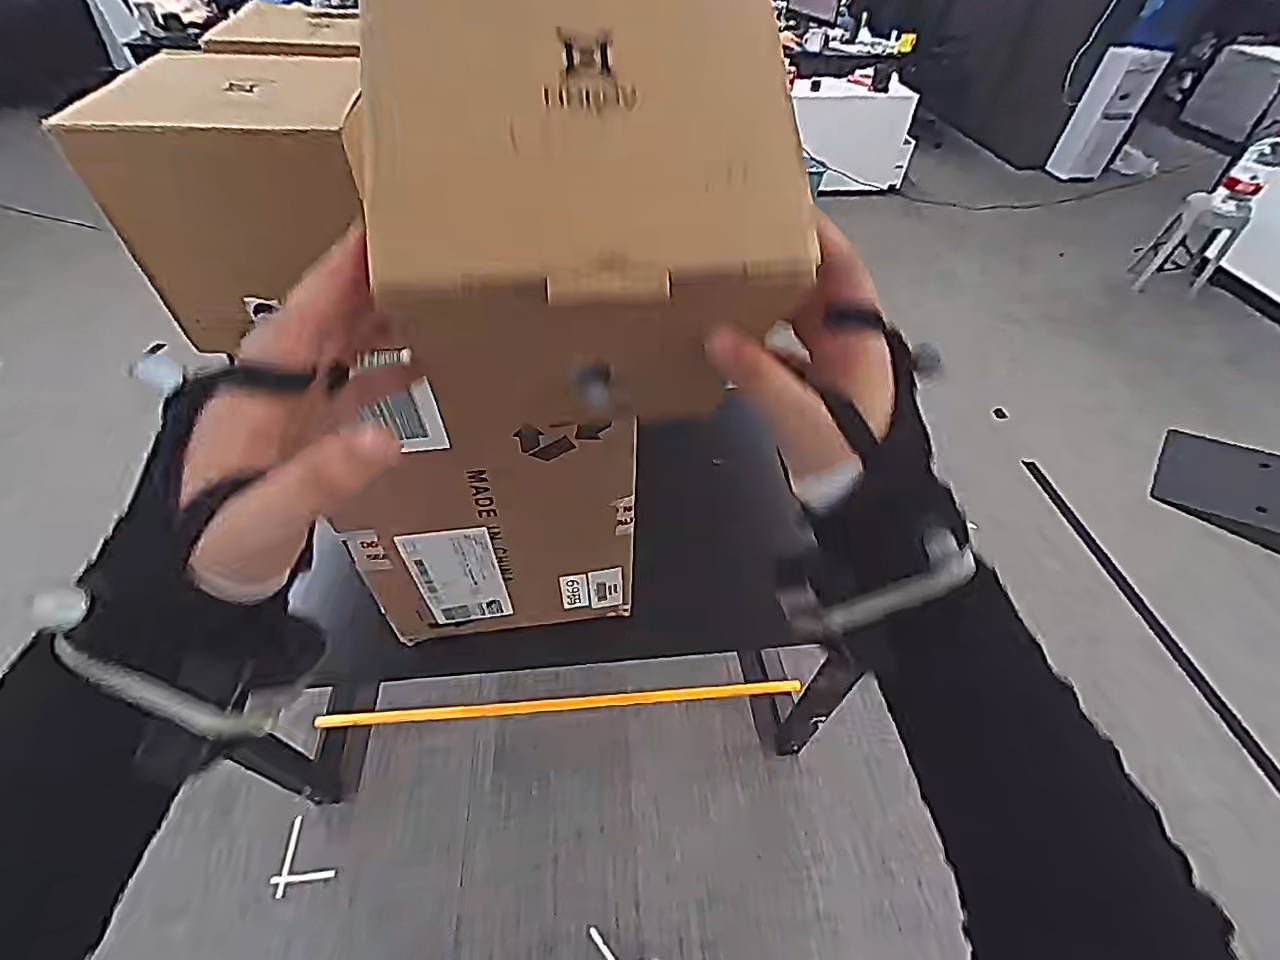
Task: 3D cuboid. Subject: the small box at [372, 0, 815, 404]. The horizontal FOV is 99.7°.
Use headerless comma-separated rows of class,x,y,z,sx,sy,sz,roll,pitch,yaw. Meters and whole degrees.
small box,-0.029,-0.146,0.292,0.168,0.176,0.179,-5,80,-9
